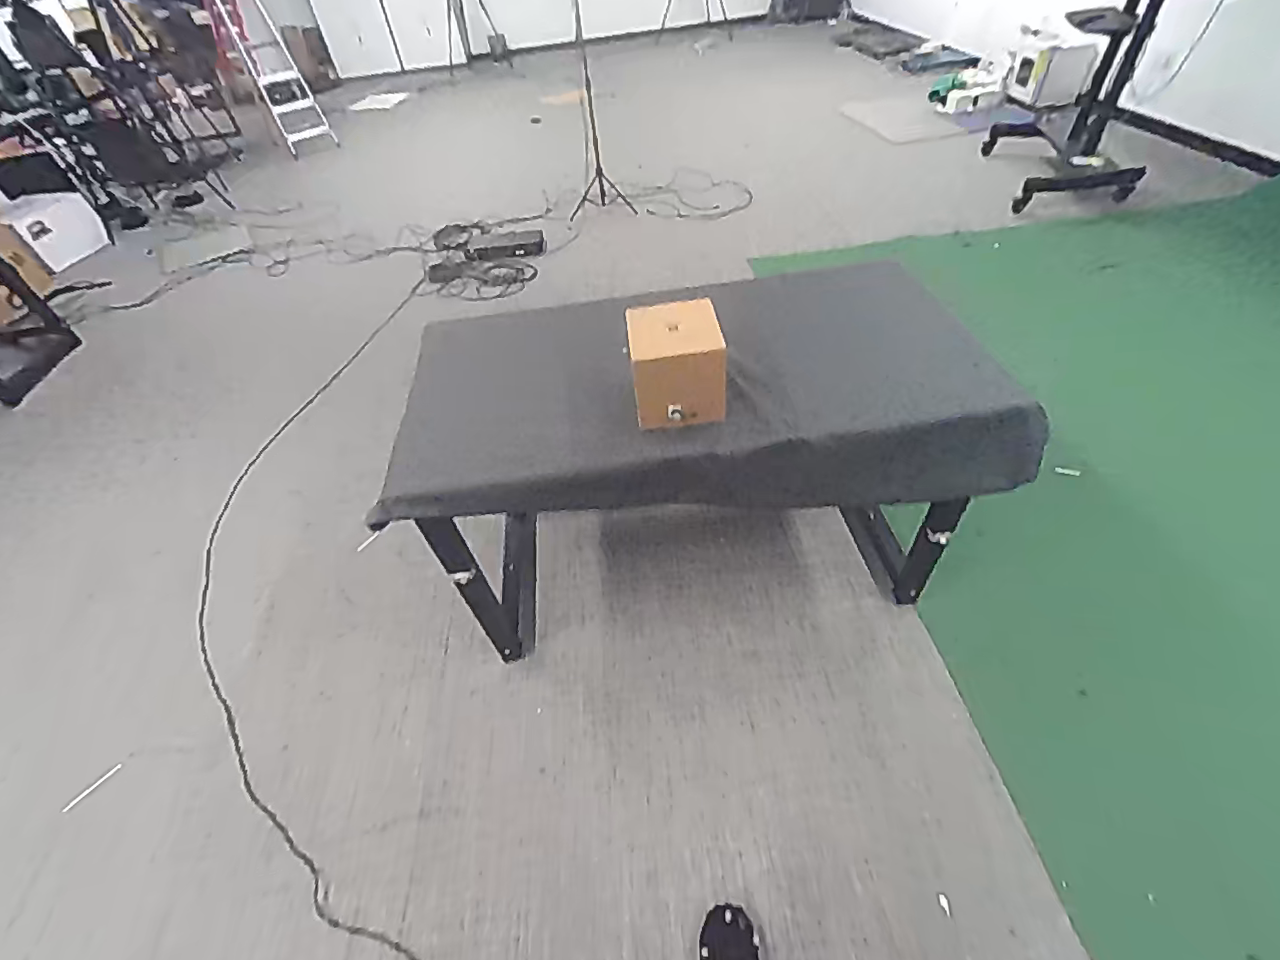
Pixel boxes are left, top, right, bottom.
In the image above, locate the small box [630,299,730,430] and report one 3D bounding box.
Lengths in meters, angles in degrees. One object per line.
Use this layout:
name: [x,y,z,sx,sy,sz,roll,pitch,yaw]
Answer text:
small box: [0.074,-0.221,1.041,0.168,0.176,0.179,-8,47,2]
